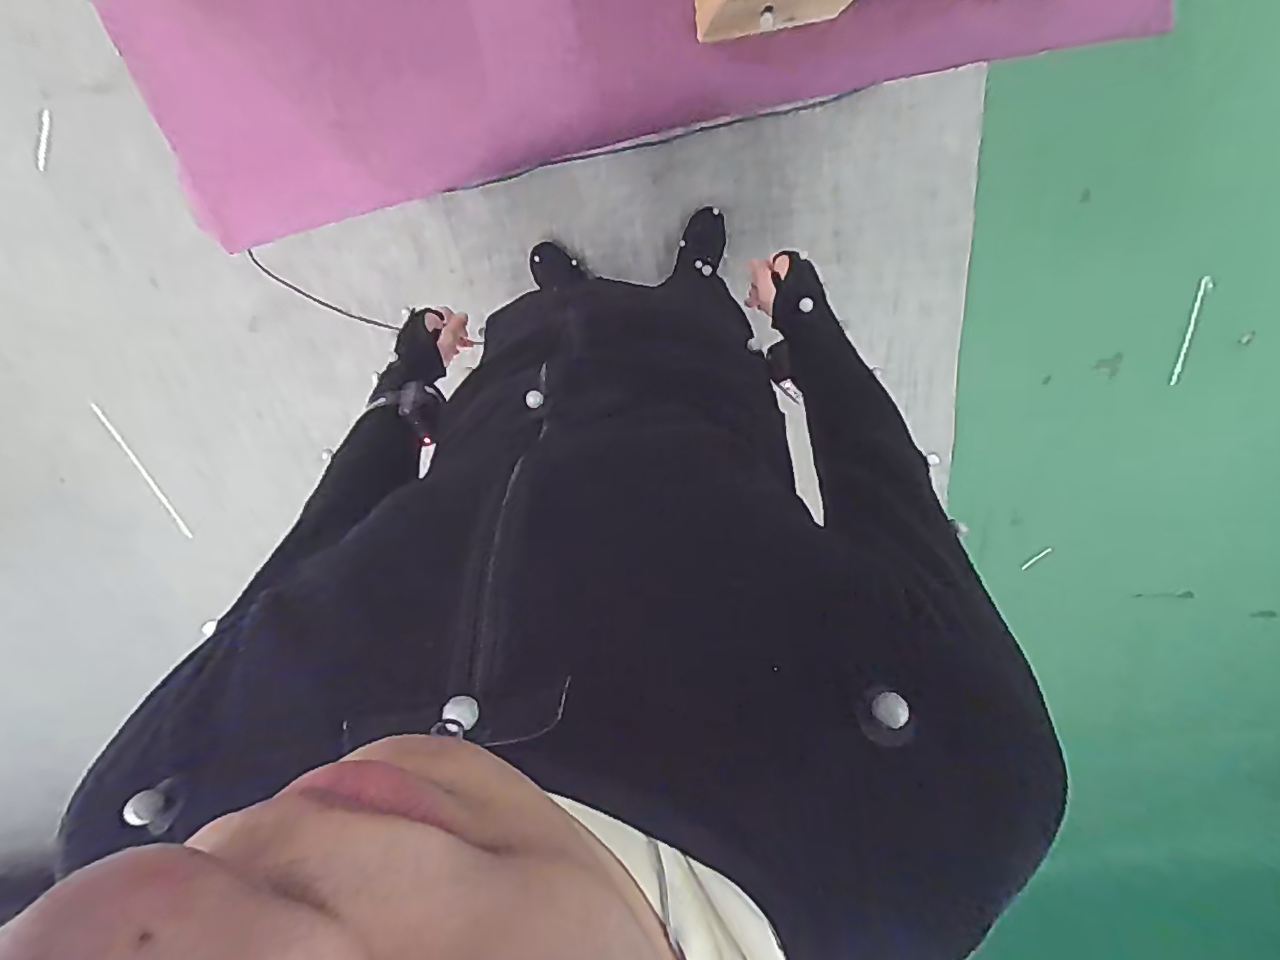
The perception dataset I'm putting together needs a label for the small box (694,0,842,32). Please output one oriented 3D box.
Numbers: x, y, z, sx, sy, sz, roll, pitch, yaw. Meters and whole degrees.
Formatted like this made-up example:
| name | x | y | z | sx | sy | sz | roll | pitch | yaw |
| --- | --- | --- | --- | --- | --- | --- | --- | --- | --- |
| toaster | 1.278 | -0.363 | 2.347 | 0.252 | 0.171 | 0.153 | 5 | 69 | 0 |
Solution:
| name | x | y | z | sx | sy | sz | roll | pitch | yaw |
| --- | --- | --- | --- | --- | --- | --- | --- | --- | --- |
| small box | 0.135 | -0.571 | 0.526 | 0.168 | 0.176 | 0.179 | -9 | 117 | 4 |
